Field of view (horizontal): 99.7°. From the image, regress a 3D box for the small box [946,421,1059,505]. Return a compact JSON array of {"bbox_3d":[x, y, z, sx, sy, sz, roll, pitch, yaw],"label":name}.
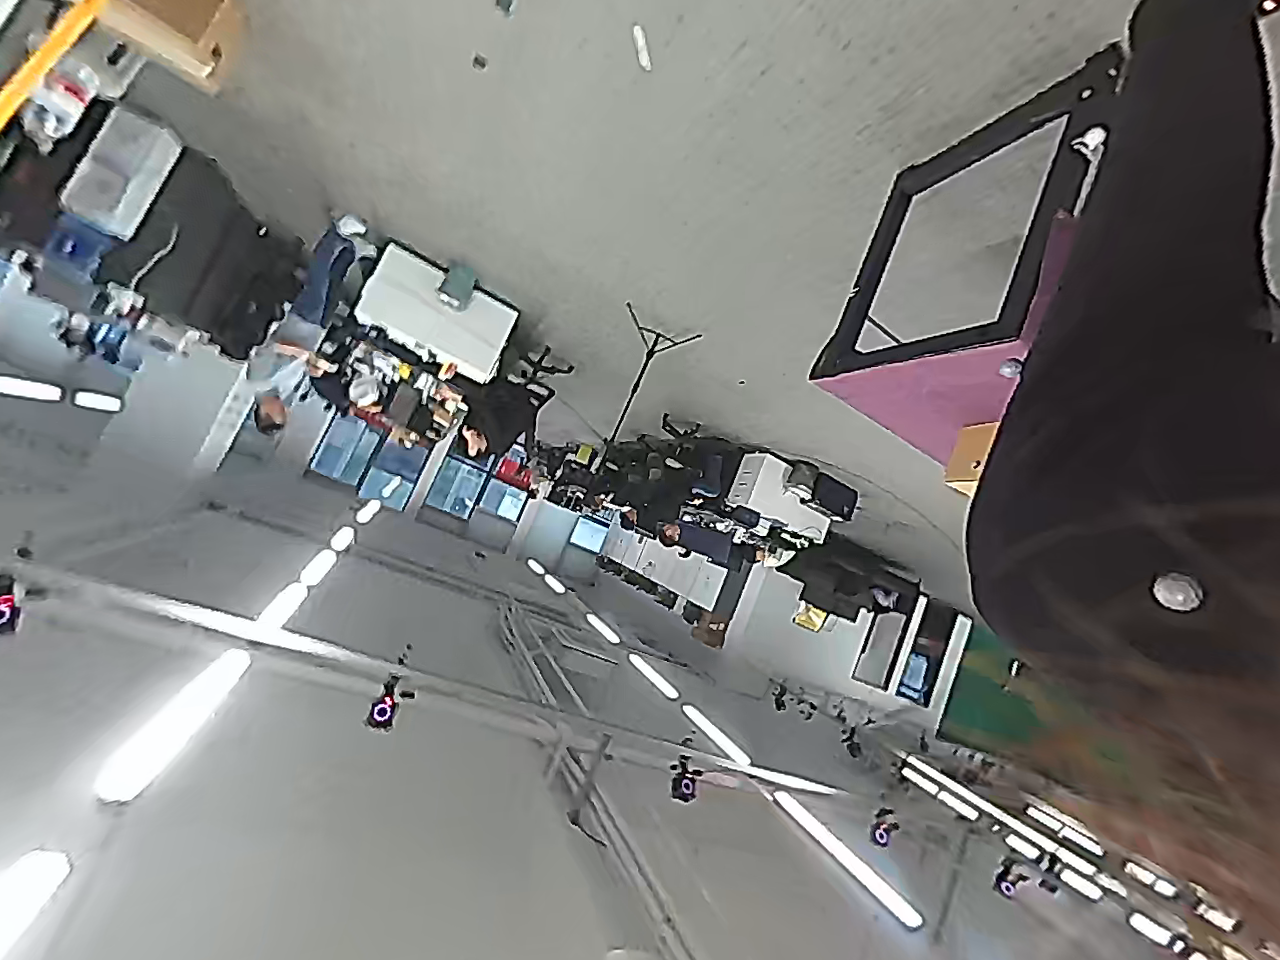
[{"bbox_3d":[0.952,-0.044,1.418,0.168,0.176,0.179,24,173,-12],"label":"small box"}]
